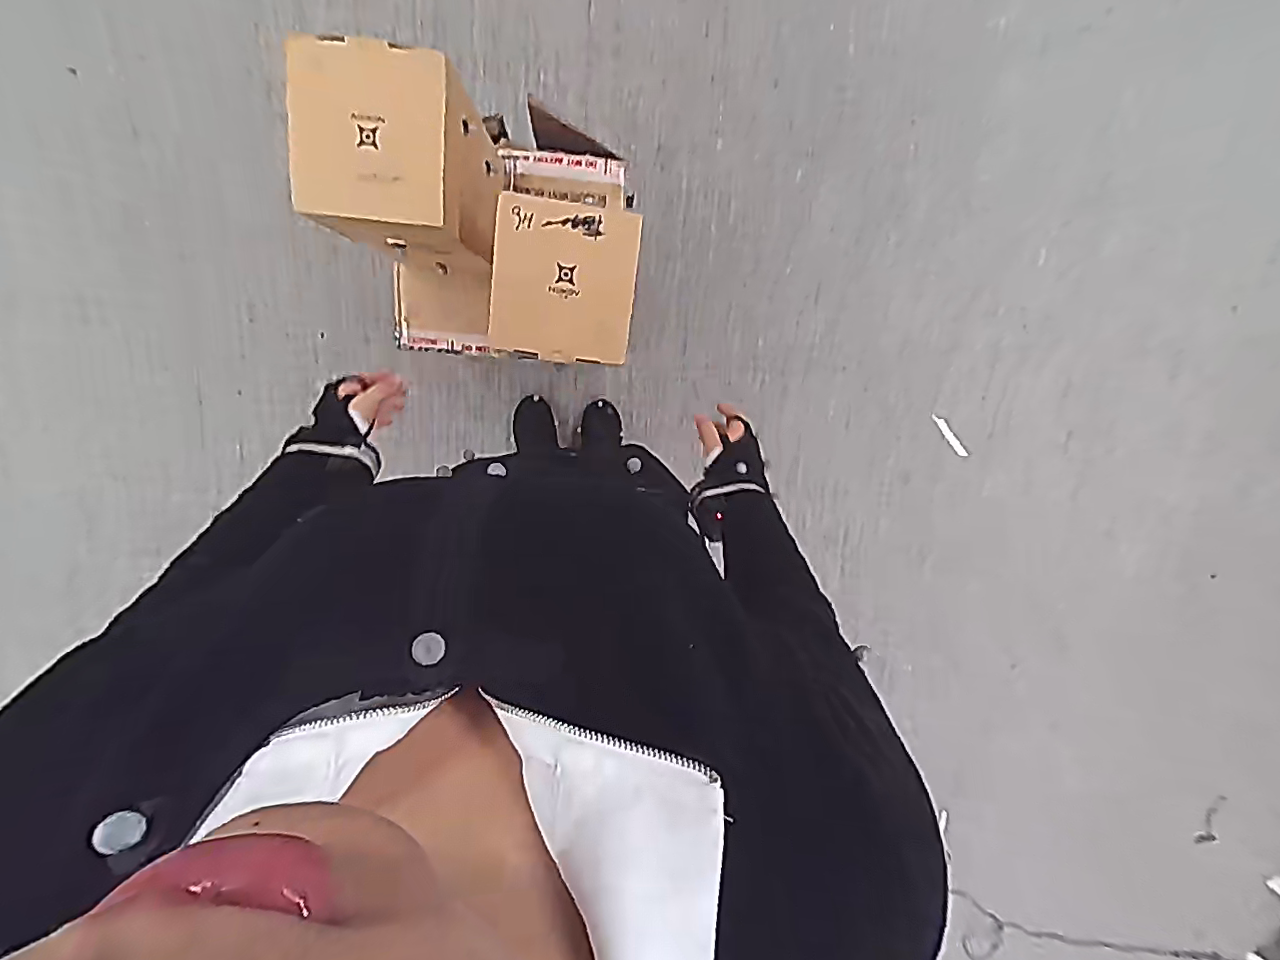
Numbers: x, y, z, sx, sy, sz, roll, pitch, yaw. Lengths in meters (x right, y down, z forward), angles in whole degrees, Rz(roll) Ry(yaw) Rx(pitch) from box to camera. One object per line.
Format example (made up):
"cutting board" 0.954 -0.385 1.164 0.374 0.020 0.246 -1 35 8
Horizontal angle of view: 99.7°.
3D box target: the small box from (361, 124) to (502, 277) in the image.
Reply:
"small box" -0.309 -0.421 0.824 0.168 0.176 0.179 4 102 -4

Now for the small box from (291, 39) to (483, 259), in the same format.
"small box" -0.296 -0.388 0.665 0.168 0.176 0.179 4 102 -4

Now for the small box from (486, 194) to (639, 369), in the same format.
"small box" -0.098 -0.247 0.712 0.168 0.176 0.179 6 102 -7
